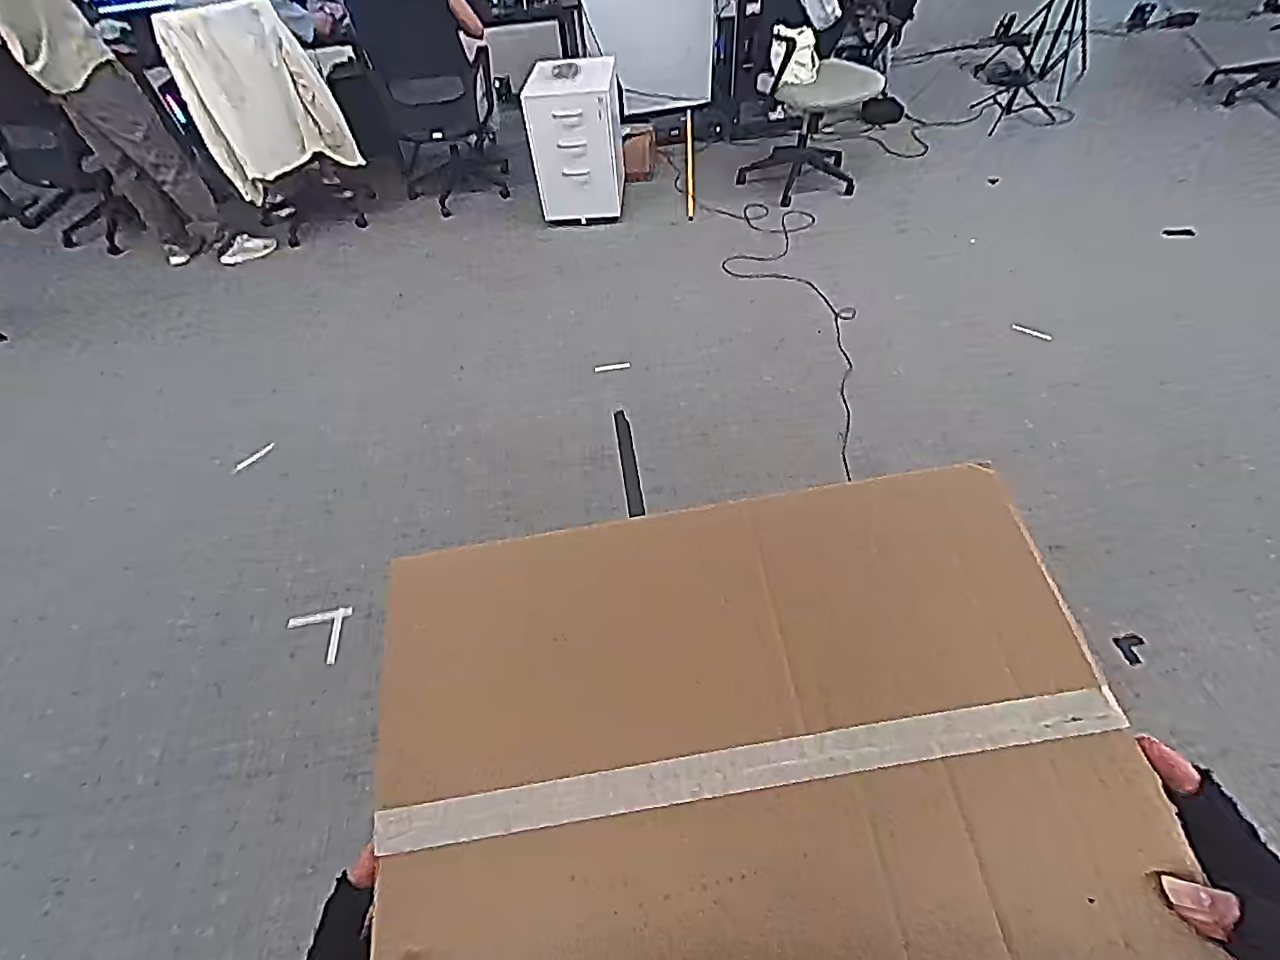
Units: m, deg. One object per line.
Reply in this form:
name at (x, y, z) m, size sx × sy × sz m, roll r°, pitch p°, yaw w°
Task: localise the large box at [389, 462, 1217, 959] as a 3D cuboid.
large box at (0.067, 0.223, 0.439) m, size 0.408 × 0.320 × 0.320 m, roll -10°, pitch 64°, yaw 0°
